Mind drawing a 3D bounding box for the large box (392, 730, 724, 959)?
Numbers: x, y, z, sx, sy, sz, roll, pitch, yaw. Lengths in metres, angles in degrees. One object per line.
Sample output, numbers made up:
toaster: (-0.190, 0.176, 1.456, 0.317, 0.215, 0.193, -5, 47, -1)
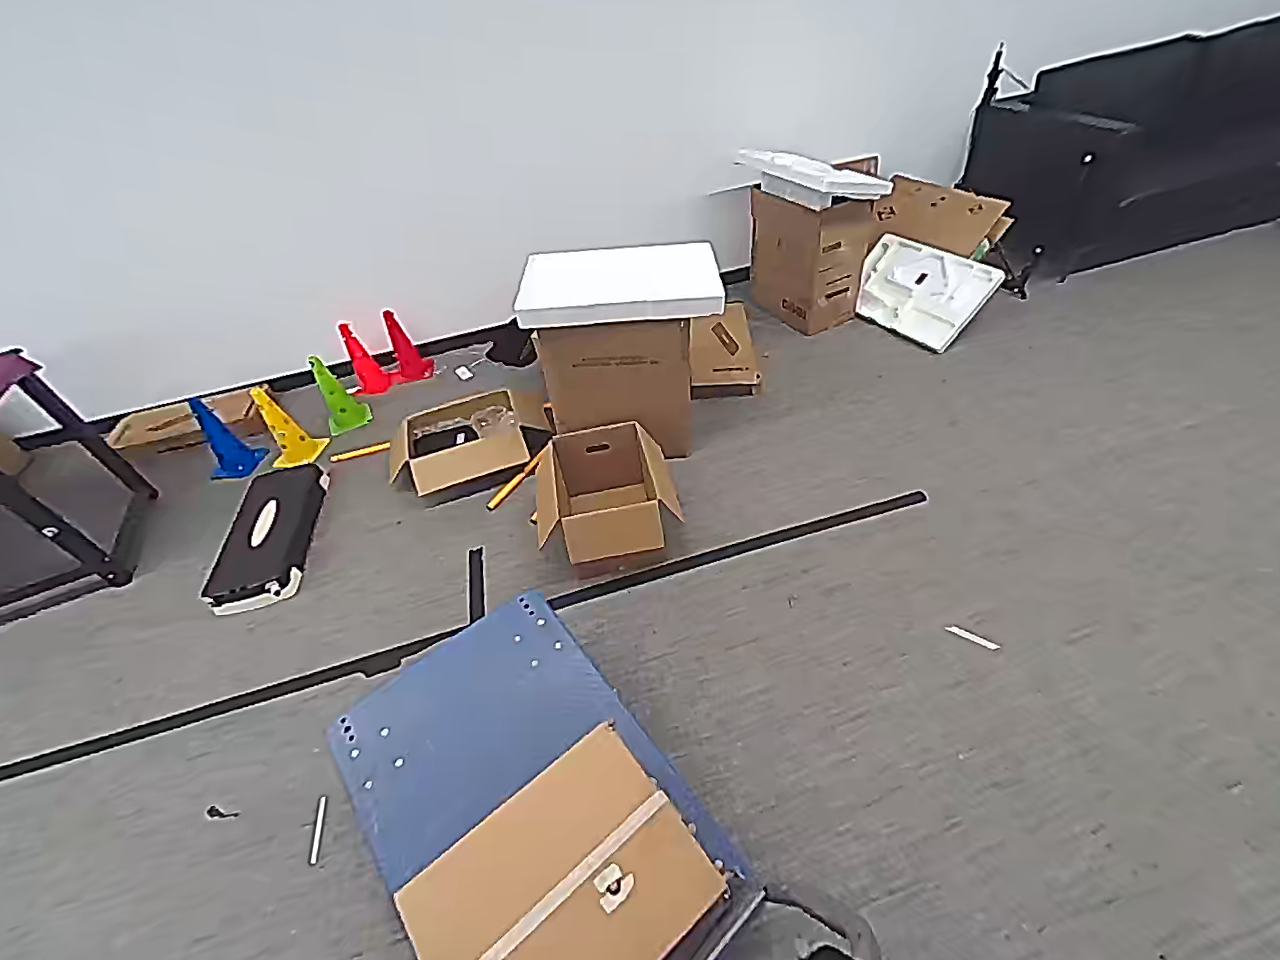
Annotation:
large box: (-0.120, 0.722, 0.911, 0.408, 0.320, 0.320, -32, 59, -24)
